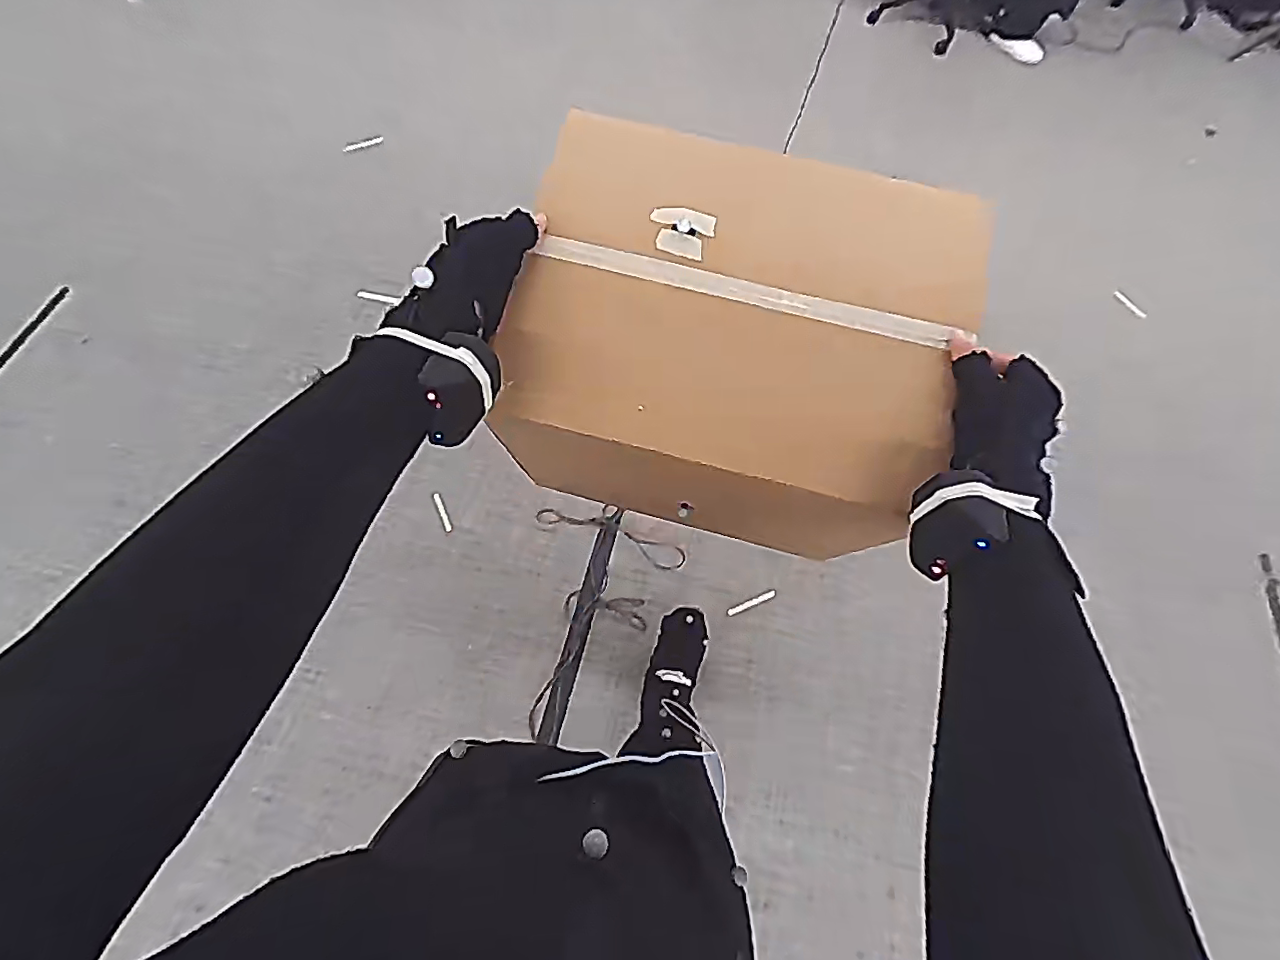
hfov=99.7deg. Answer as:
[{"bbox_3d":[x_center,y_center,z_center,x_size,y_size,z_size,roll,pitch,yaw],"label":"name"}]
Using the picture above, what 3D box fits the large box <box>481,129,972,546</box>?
[{"bbox_3d":[0.092,-0.128,0.637,0.408,0.320,0.320,15,76,4],"label":"large box"}]
